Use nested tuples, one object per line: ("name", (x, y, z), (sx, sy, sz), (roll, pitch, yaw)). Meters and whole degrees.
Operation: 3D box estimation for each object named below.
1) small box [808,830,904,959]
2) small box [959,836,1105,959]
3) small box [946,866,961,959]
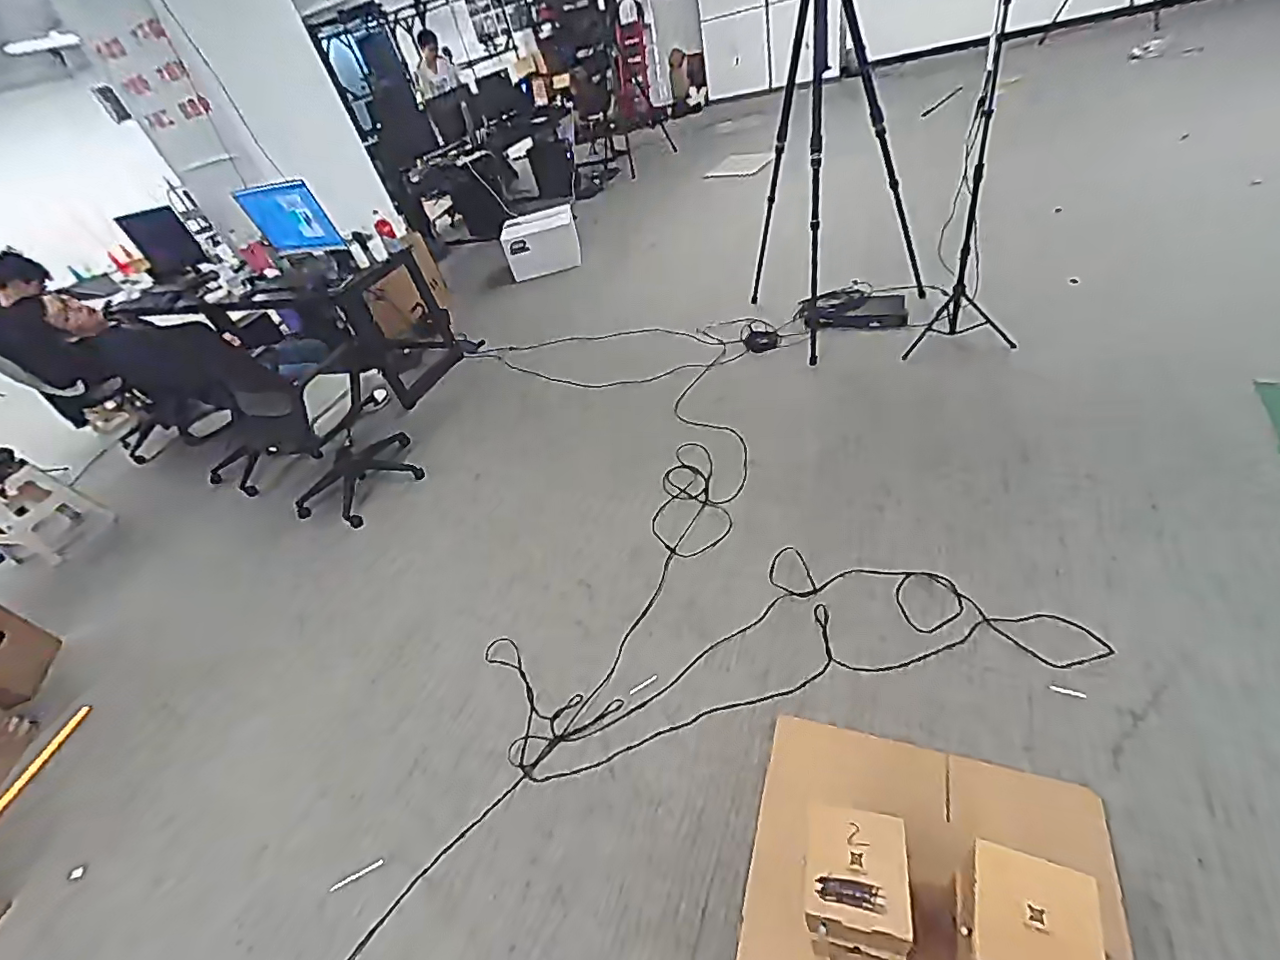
("small box", (0.429, 0.839, 1.077), (0.168, 0.176, 0.179), (1, 44, 21))
("small box", (0.627, 0.729, 0.883), (0.168, 0.176, 0.179), (6, 47, 26))
("small box", (0.662, 0.850, 0.985), (0.168, 0.176, 0.179), (3, 46, 25))
